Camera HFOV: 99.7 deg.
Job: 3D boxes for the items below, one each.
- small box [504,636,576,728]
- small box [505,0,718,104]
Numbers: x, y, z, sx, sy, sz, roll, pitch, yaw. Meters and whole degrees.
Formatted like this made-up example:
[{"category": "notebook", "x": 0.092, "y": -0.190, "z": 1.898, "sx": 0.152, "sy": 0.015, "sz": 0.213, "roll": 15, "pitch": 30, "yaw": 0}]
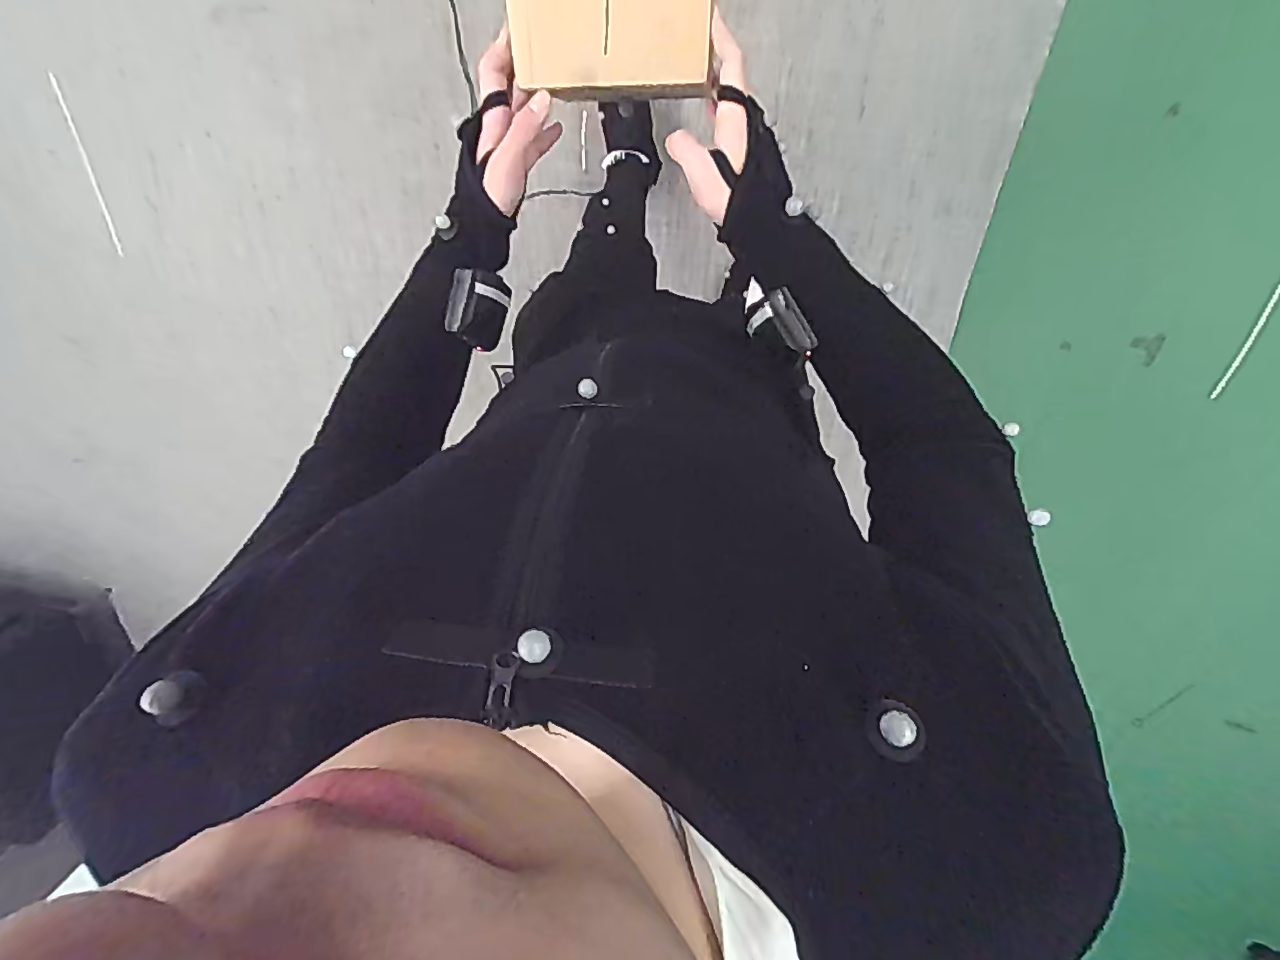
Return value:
[{"category": "small box", "x": -0.292, "y": 0.590, "z": 1.599, "sx": 0.168, "sy": 0.176, "sz": 0.179, "roll": 12, "pitch": 118, "yaw": 4}, {"category": "small box", "x": -0.016, "y": -0.445, "z": 0.476, "sx": 0.168, "sy": 0.176, "sz": 0.179, "roll": 4, "pitch": 122, "yaw": 8}]
